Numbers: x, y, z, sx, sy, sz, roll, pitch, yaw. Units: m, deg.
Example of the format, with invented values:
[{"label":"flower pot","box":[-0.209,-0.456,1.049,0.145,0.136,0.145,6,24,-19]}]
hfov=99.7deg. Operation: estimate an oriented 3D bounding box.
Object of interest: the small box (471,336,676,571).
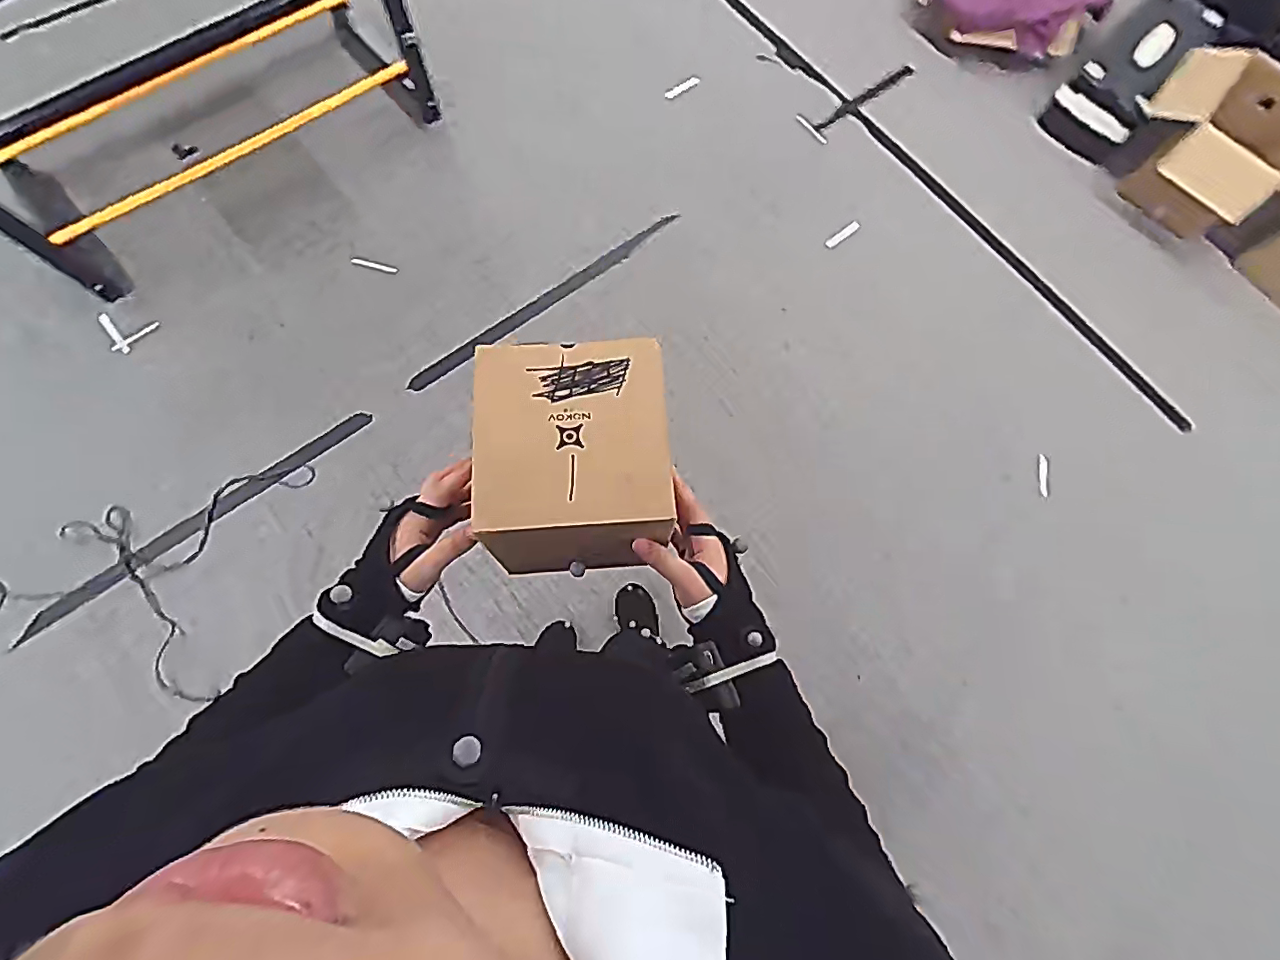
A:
[{"label":"small box","box":[-0.062,-0.018,0.534,0.168,0.176,0.179,-4,69,-4]}]
